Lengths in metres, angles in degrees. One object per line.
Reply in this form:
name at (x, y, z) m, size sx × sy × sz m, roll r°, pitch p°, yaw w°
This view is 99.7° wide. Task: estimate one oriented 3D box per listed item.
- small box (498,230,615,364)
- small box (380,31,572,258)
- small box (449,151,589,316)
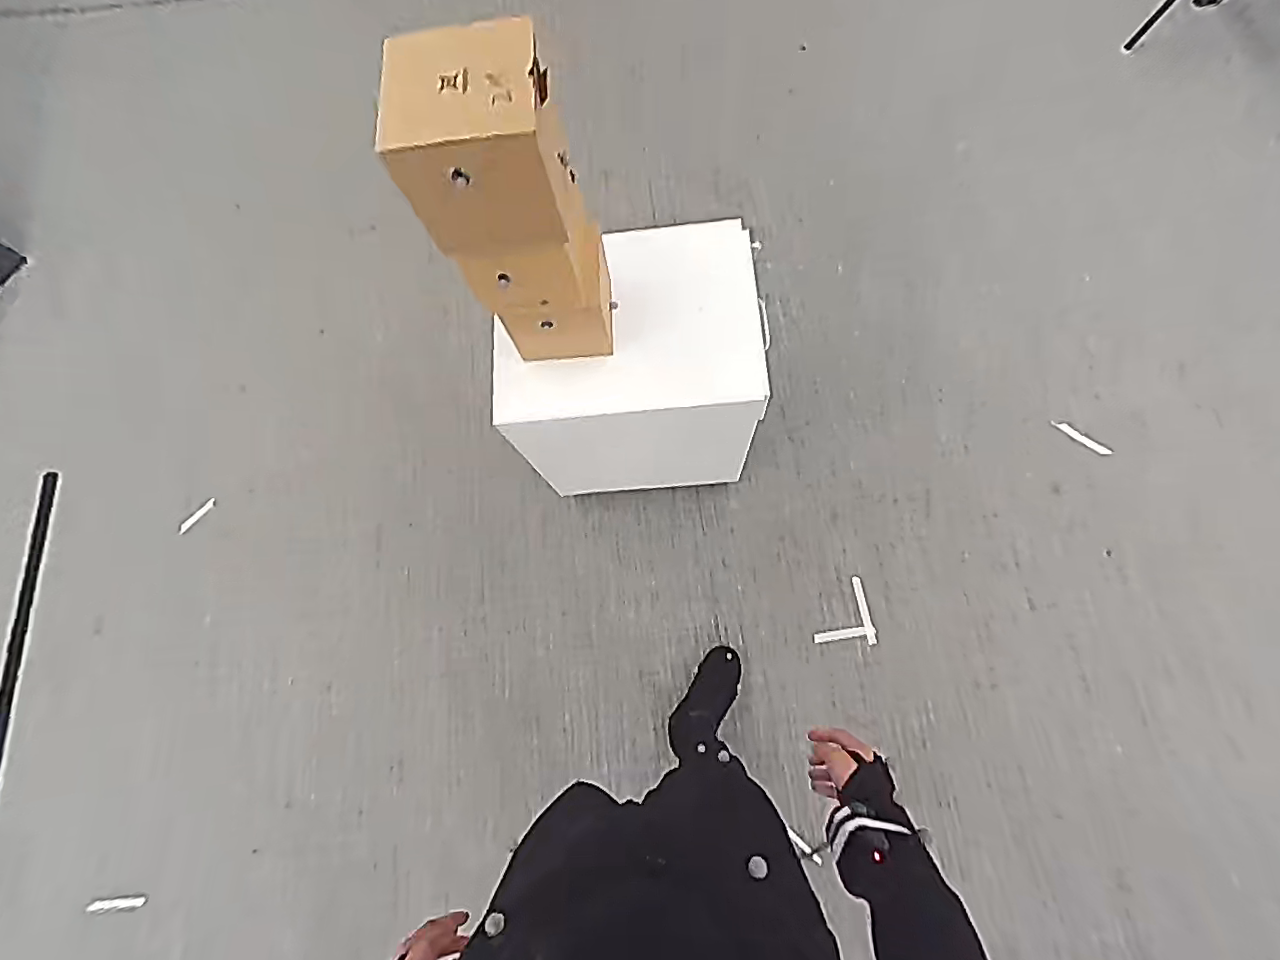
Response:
small box at (-0.143, -0.323, 0.983) m, size 0.179 × 0.176 × 0.168 m, roll -3°, pitch 74°, yaw 3°
small box at (-0.188, -0.398, 0.667) m, size 0.179 × 0.176 × 0.168 m, roll -4°, pitch 74°, yaw 4°
small box at (-0.174, -0.366, 0.829) m, size 0.168 × 0.176 × 0.179 m, roll -2°, pitch 73°, yaw 5°
